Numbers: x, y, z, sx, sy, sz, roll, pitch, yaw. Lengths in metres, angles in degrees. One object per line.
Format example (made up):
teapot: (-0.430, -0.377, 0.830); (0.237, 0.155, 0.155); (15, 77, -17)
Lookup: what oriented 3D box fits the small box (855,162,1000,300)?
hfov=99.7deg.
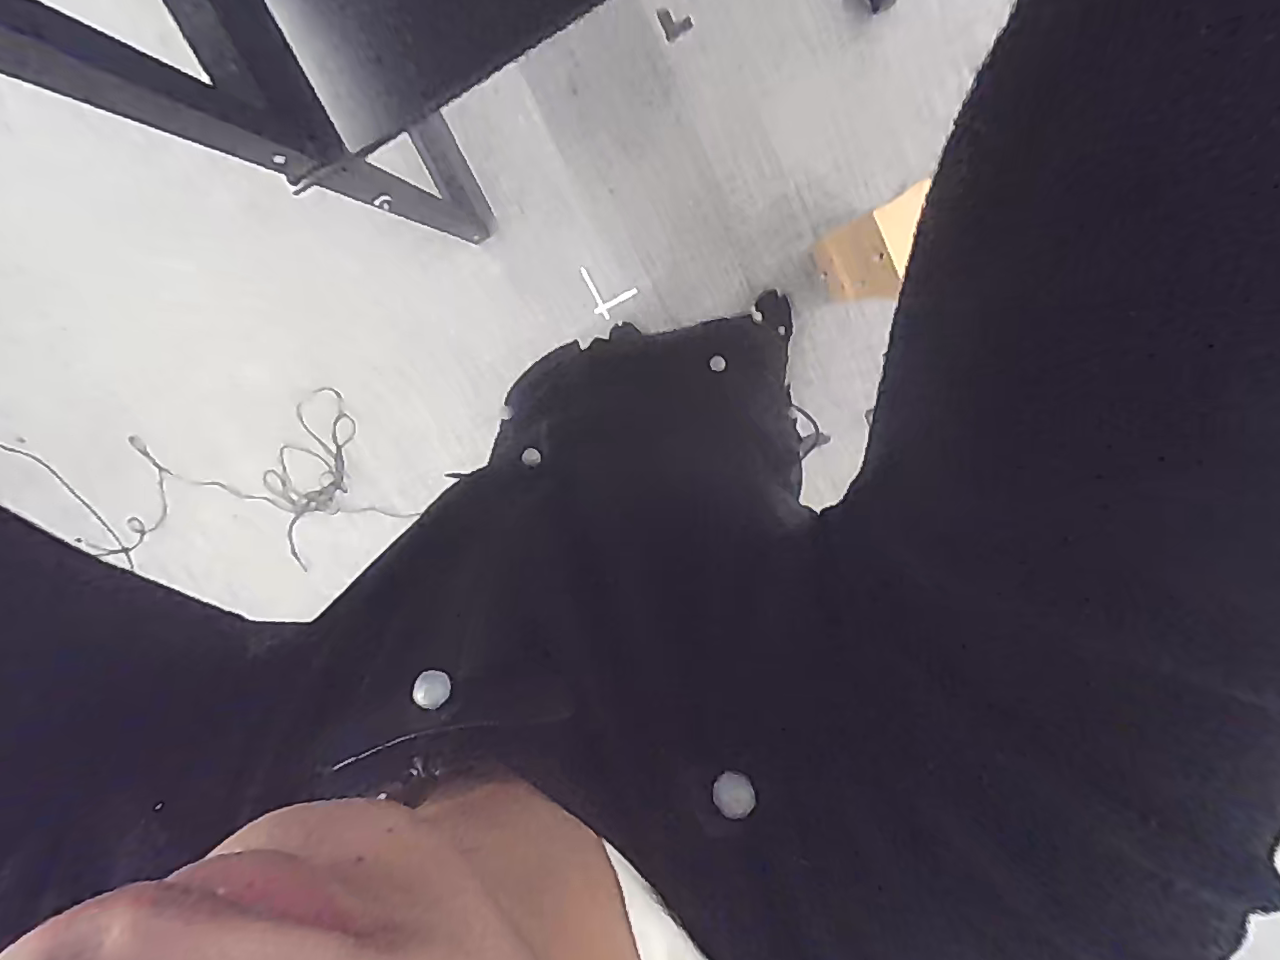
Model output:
small box: (0.542, -0.467, 1.042); (0.168, 0.176, 0.179); (-27, 102, 13)

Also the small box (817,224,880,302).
small box: (0.569, -0.561, 1.354); (0.179, 0.176, 0.168); (-26, 102, 13)
